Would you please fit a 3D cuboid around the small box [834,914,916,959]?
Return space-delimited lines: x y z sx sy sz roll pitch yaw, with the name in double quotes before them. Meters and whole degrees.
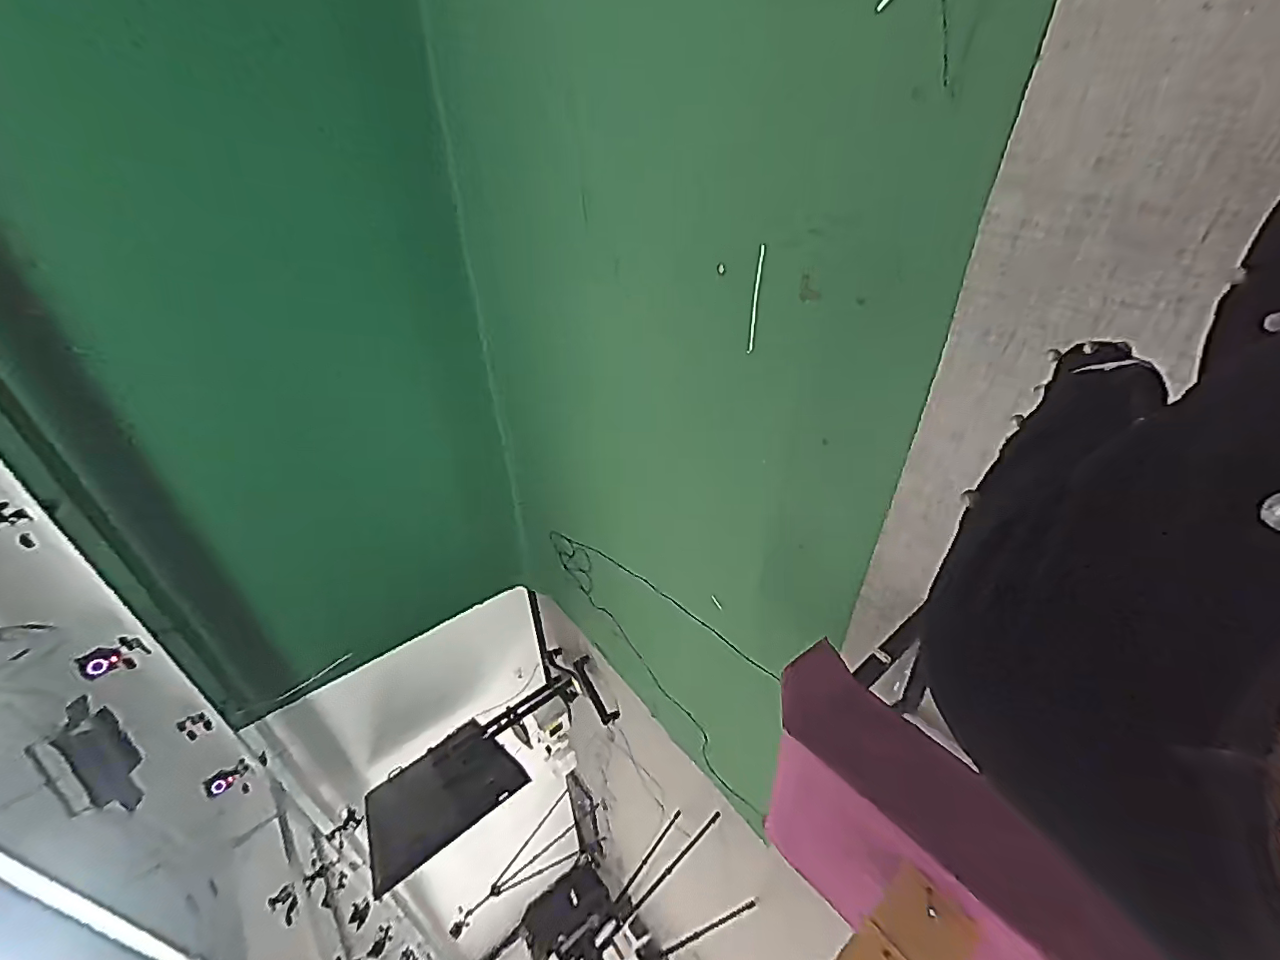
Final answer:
"small box" 0.481 1.055 1.111 0.168 0.176 0.179 36 139 39

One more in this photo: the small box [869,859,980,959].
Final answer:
"small box" 0.609 0.993 1.190 0.168 0.176 0.179 35 139 39
